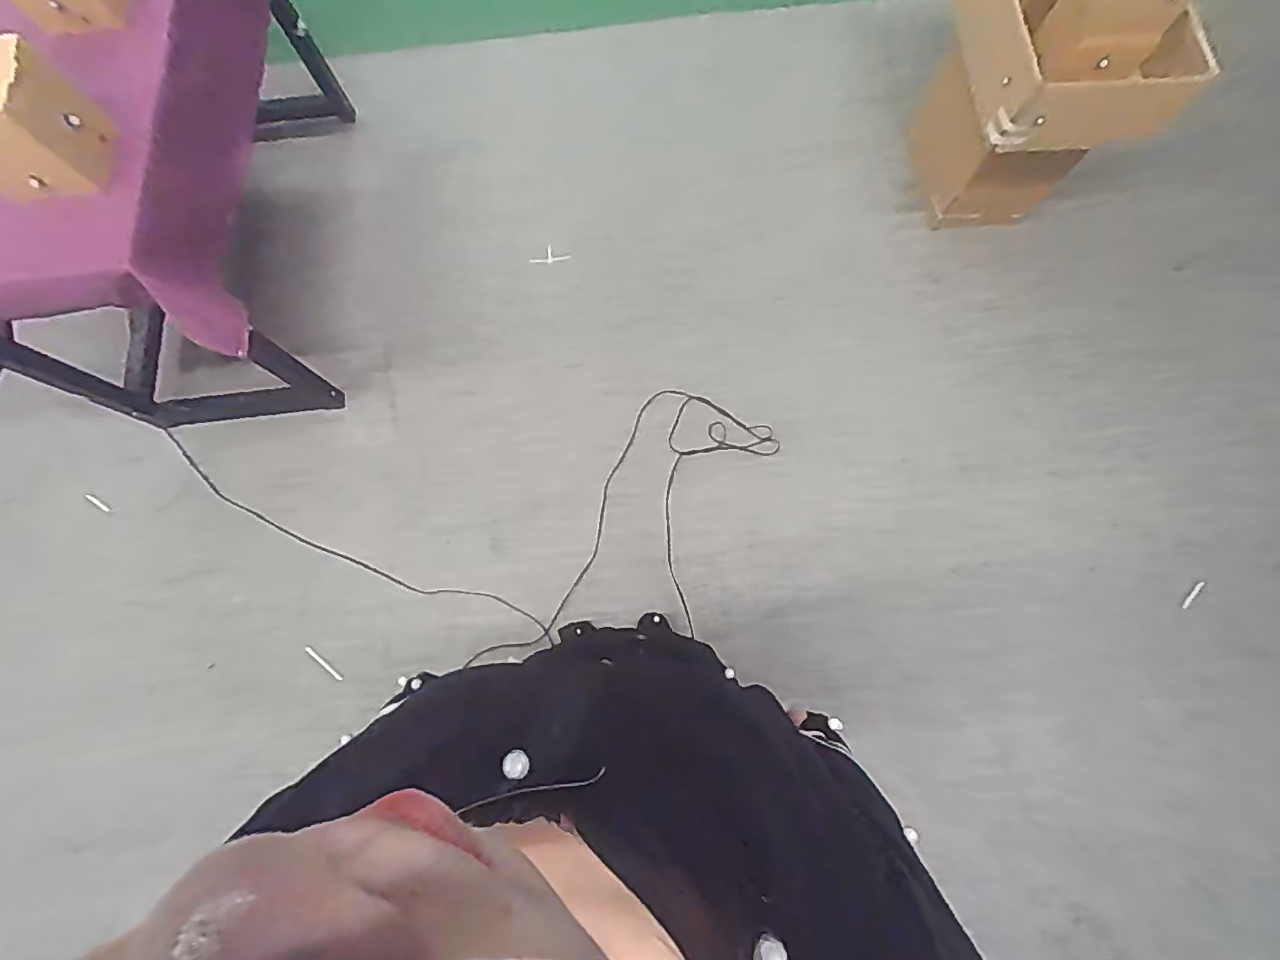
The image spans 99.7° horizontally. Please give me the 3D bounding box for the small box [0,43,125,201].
[{"bbox_3d":[-1.094,-0.635,0.974,0.179,0.176,0.168,-6,75,0],"label":"small box"}]
